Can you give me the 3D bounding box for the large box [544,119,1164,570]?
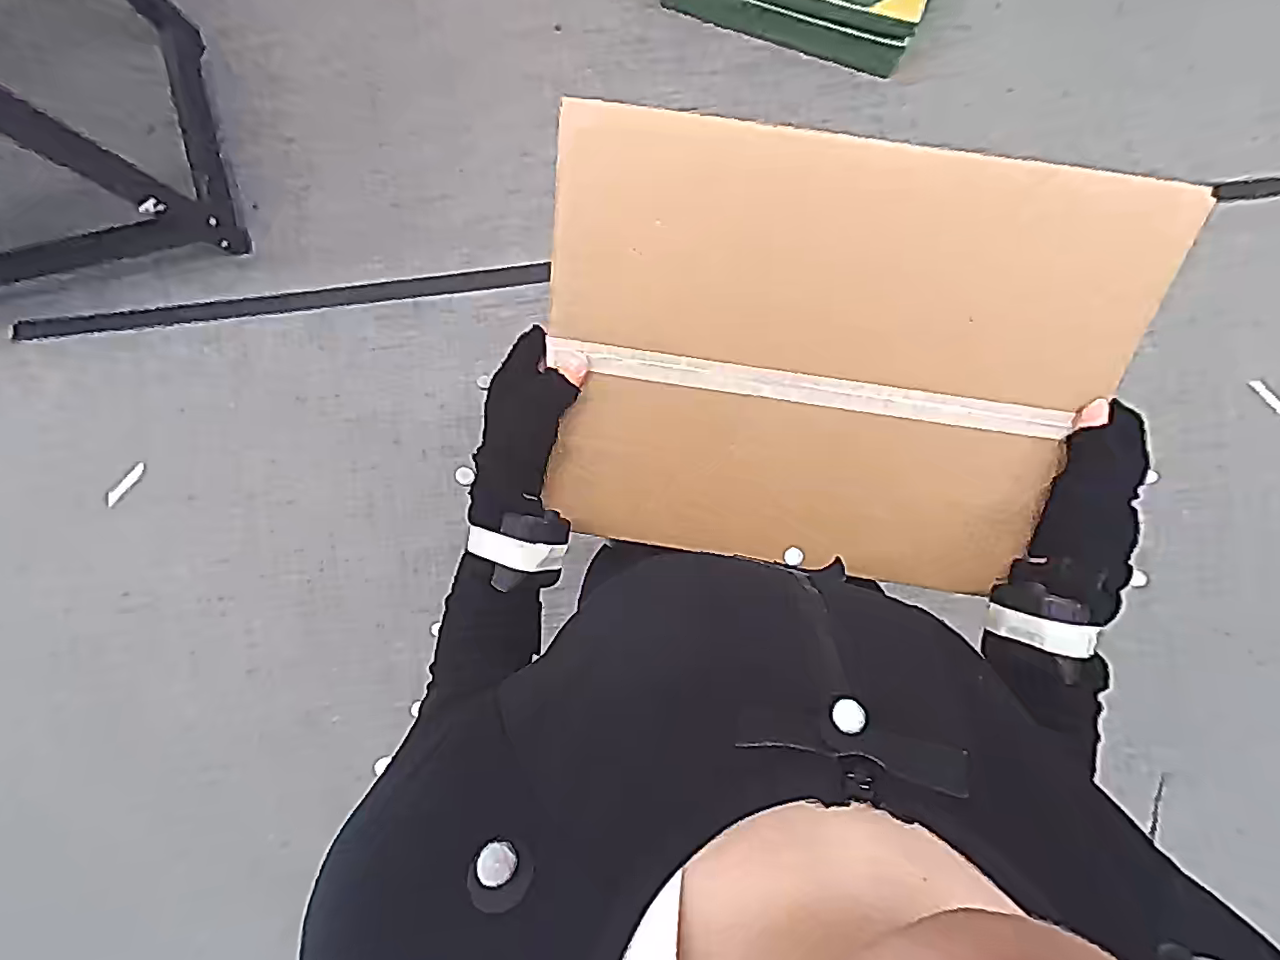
[{"bbox_3d":[0.138,-0.144,0.549,0.408,0.320,0.320,8,116,1],"label":"large box"}]
